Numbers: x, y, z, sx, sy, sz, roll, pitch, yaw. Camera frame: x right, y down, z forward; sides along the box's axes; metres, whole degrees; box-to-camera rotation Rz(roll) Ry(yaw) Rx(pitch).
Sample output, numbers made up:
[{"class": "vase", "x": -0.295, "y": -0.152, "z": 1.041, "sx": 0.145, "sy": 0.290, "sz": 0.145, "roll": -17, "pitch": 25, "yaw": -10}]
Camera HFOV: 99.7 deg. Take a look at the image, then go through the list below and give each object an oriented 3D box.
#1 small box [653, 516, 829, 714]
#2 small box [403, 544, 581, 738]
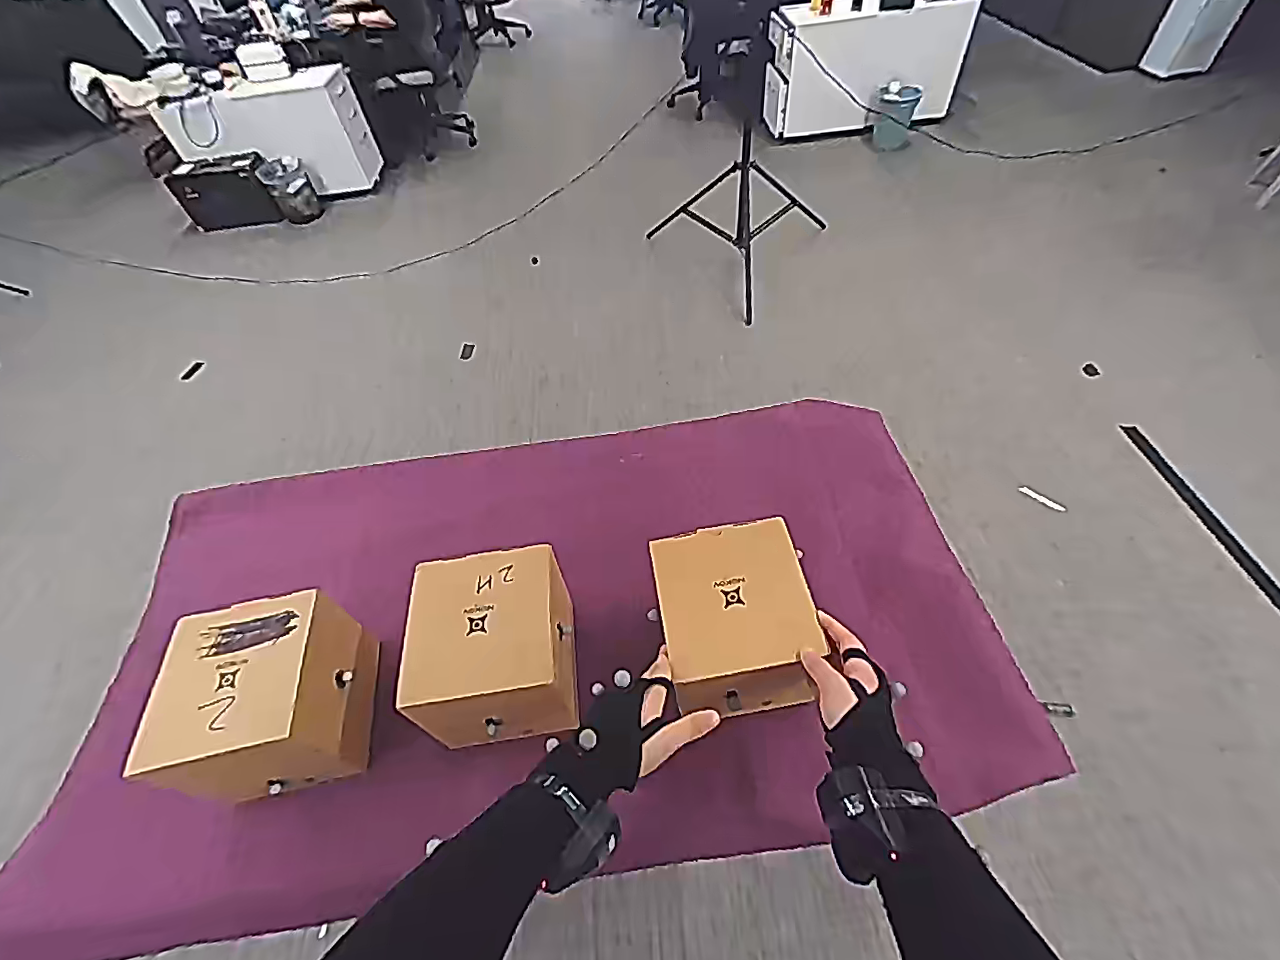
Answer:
[{"class": "small box", "x": 0.117, "y": 0.174, "z": 0.666, "sx": 0.168, "sy": 0.176, "sz": 0.179, "roll": -11, "pitch": 51, "yaw": 1}, {"class": "small box", "x": -0.170, "y": 0.206, "z": 0.673, "sx": 0.168, "sy": 0.176, "sz": 0.179, "roll": -8, "pitch": 50, "yaw": -2}]
